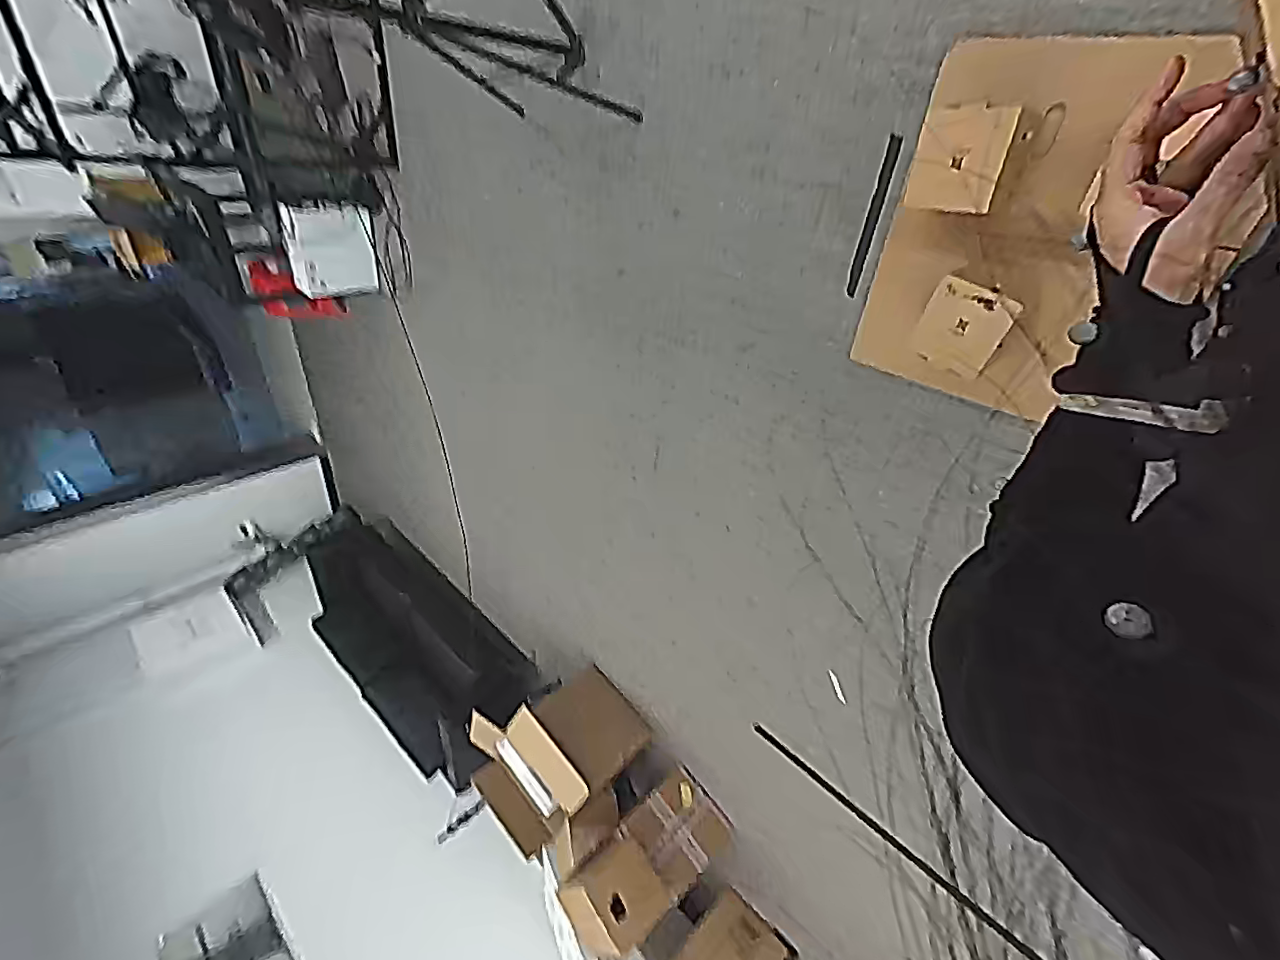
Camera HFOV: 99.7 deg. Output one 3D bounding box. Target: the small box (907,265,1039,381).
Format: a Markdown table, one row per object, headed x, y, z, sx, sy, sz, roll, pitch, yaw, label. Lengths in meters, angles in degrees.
| x | y | z | sx | sy | sz | roll | pitch | yaw | label |
| --- | --- | --- | --- | --- | --- | --- | --- | --- | --- |
| 0.731 | -0.349 | 1.184 | 0.168 | 0.176 | 0.179 | 38 | 136 | 26 | small box |

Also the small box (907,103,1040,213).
| x | y | z | sx | sy | sz | roll | pitch | yaw | label |
| --- | --- | --- | --- | --- | --- | --- | --- | --- | --- |
| 0.672 | -0.644 | 1.089 | 0.168 | 0.176 | 0.179 | 28 | 129 | 36 | small box |

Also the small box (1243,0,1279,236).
| x | y | z | sx | sy | sz | roll | pitch | yaw | label |
| --- | --- | --- | --- | --- | --- | --- | --- | --- | --- |
| 0.408 | -0.246 | 0.251 | 0.168 | 0.176 | 0.179 | -6 | 76 | 48 | small box |

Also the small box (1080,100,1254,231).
| x | y | z | sx | sy | sz | roll | pitch | yaw | label |
| --- | --- | --- | --- | --- | --- | --- | --- | --- | --- |
| 0.897 | -0.528 | 0.911 | 0.179 | 0.176 | 0.168 | 31 | 131 | 31 | small box |
